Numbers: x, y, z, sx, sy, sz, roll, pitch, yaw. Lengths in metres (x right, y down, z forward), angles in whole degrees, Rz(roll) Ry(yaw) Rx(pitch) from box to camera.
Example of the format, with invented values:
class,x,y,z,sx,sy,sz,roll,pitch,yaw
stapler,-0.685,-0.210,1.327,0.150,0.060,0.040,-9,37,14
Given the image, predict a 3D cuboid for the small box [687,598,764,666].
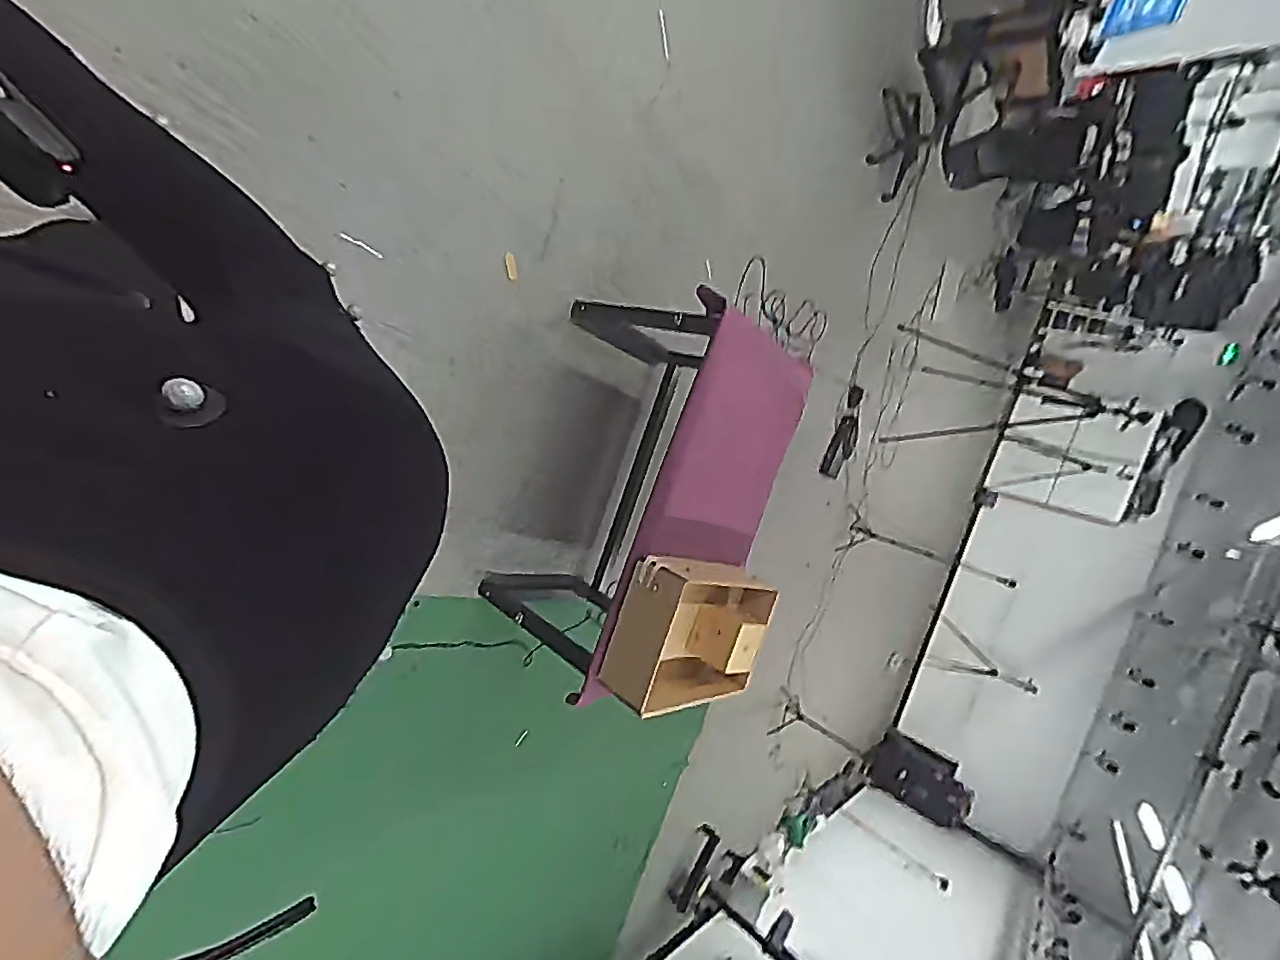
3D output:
class,x,y,z,sx,sy,sz,roll,pitch,yaw
small box,0.284,0.506,1.812,0.179,0.176,0.168,20,90,-50
